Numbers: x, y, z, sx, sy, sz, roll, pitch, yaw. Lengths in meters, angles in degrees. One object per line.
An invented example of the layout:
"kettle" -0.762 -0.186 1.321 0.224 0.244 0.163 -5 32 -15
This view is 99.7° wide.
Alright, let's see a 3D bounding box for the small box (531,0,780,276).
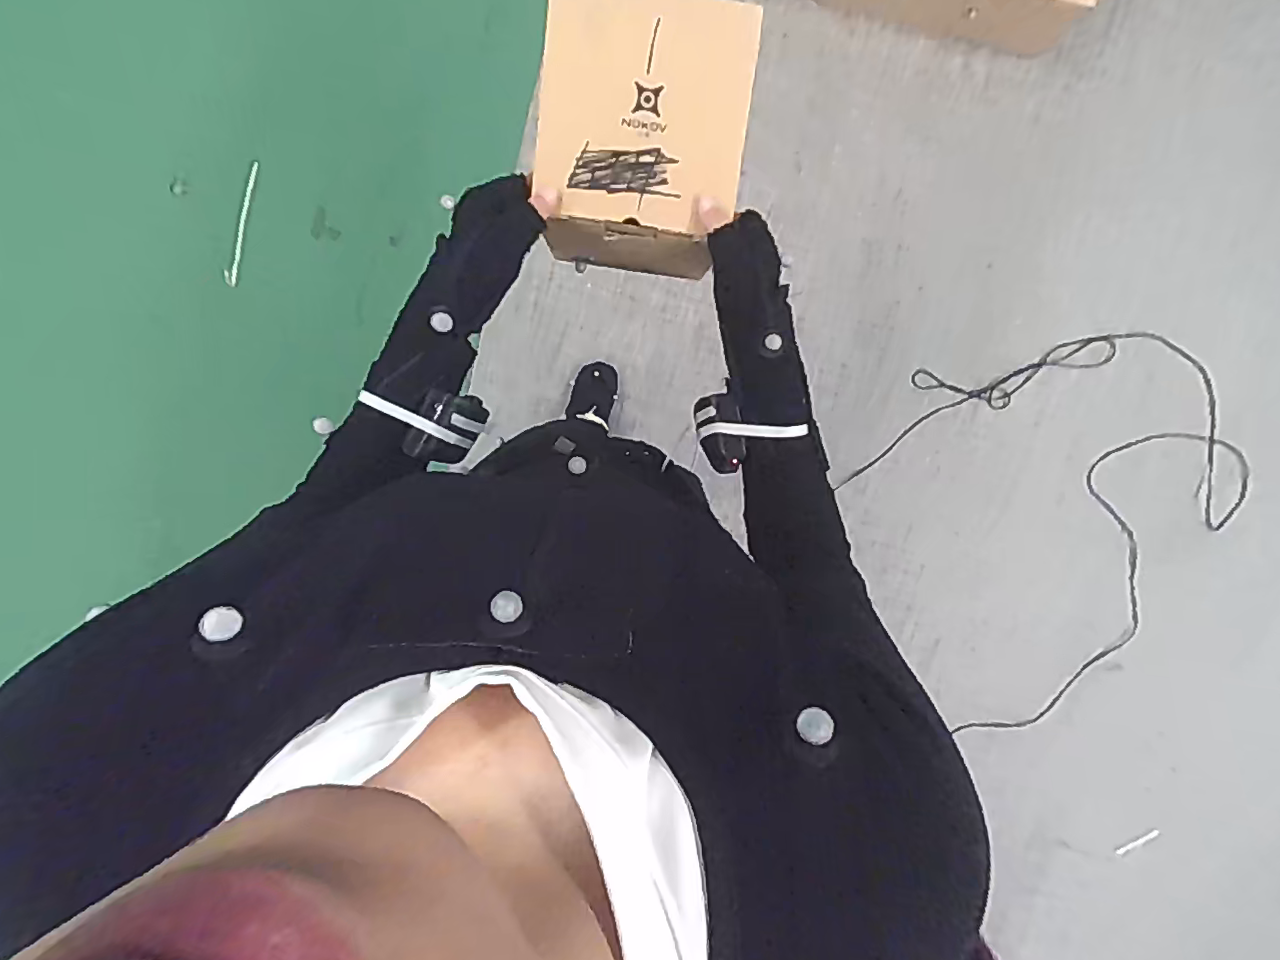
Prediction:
"small box" 0.006 -0.302 0.496 0.168 0.176 0.179 11 100 -7
